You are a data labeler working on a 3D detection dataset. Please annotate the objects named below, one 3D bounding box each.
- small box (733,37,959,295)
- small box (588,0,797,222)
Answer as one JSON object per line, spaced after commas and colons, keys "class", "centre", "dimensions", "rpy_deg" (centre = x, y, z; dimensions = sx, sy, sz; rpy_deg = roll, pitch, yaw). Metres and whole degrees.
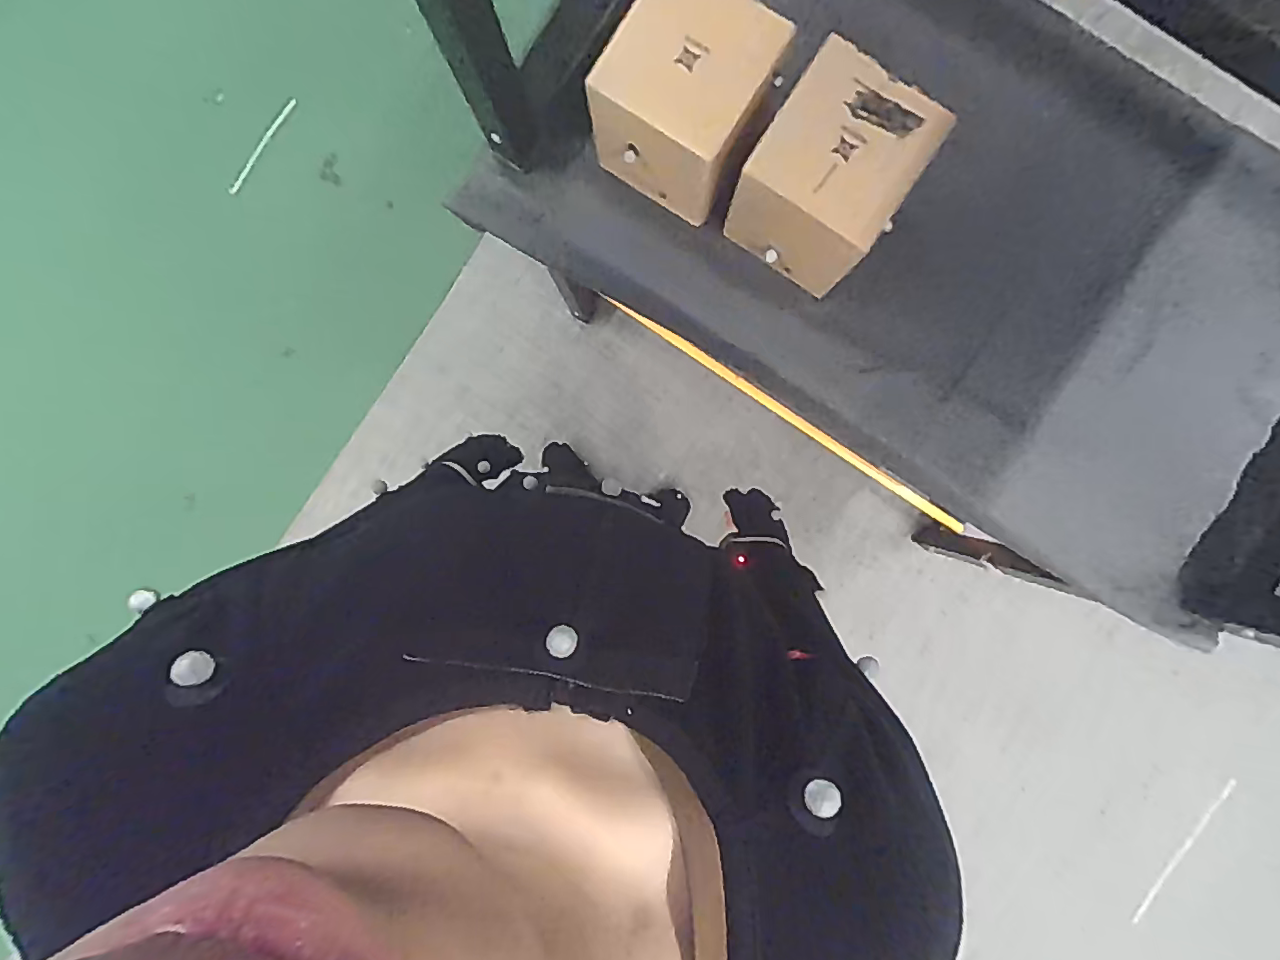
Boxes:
{"class": "small box", "centre": [0.231, -0.362, 0.660], "dimensions": [0.168, 0.176, 0.179], "rpy_deg": [34, 92, 1]}
{"class": "small box", "centre": [0.059, -0.459, 0.663], "dimensions": [0.168, 0.176, 0.179], "rpy_deg": [33, 91, 0]}
